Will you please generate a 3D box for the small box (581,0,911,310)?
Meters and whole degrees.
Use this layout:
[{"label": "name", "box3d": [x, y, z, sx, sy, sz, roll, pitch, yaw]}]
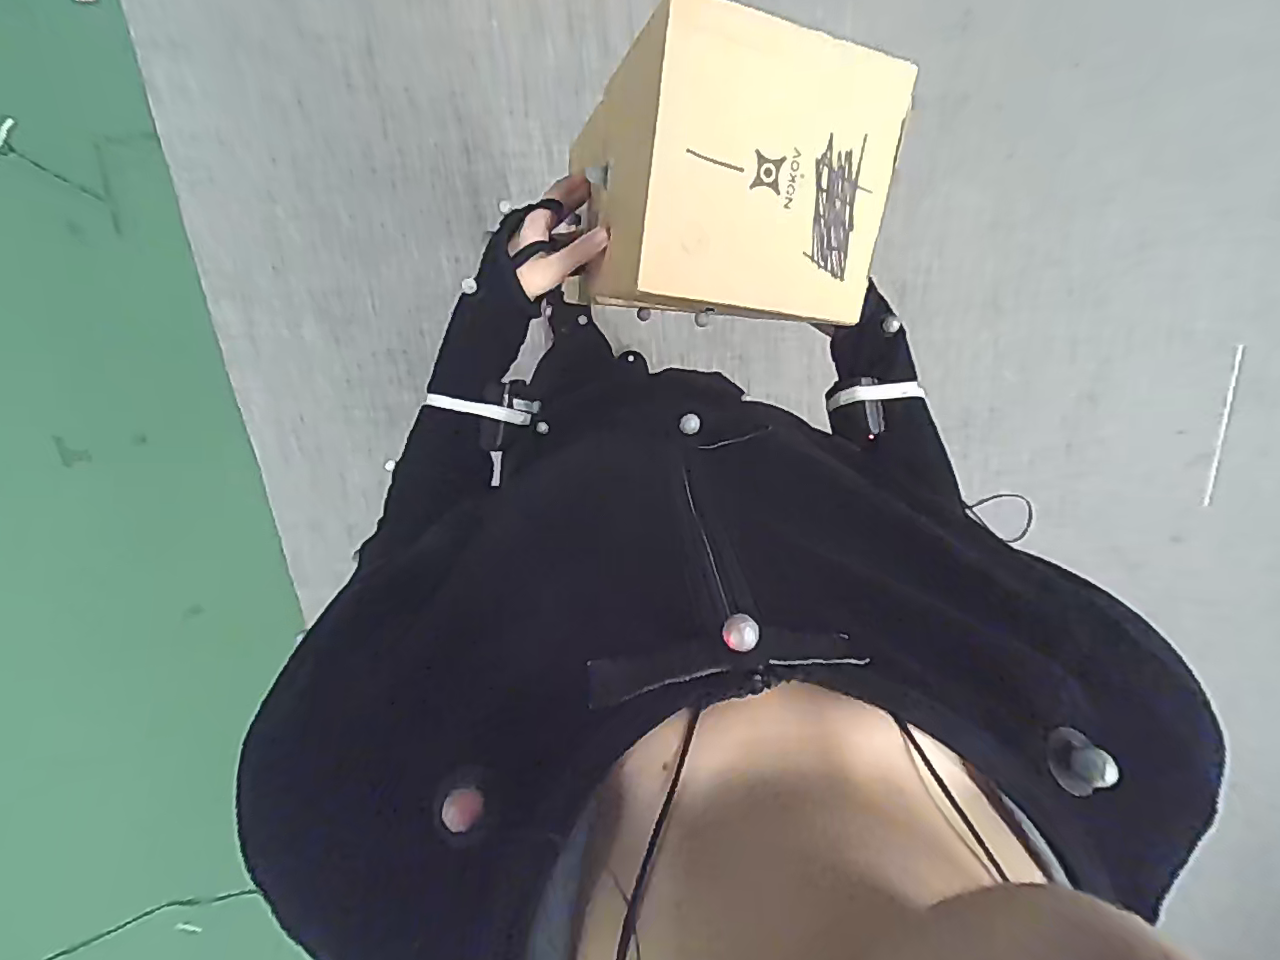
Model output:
[{"label": "small box", "box3d": [0.062, -0.231, 0.420, 0.179, 0.176, 0.168, 3, 106, -17]}]
